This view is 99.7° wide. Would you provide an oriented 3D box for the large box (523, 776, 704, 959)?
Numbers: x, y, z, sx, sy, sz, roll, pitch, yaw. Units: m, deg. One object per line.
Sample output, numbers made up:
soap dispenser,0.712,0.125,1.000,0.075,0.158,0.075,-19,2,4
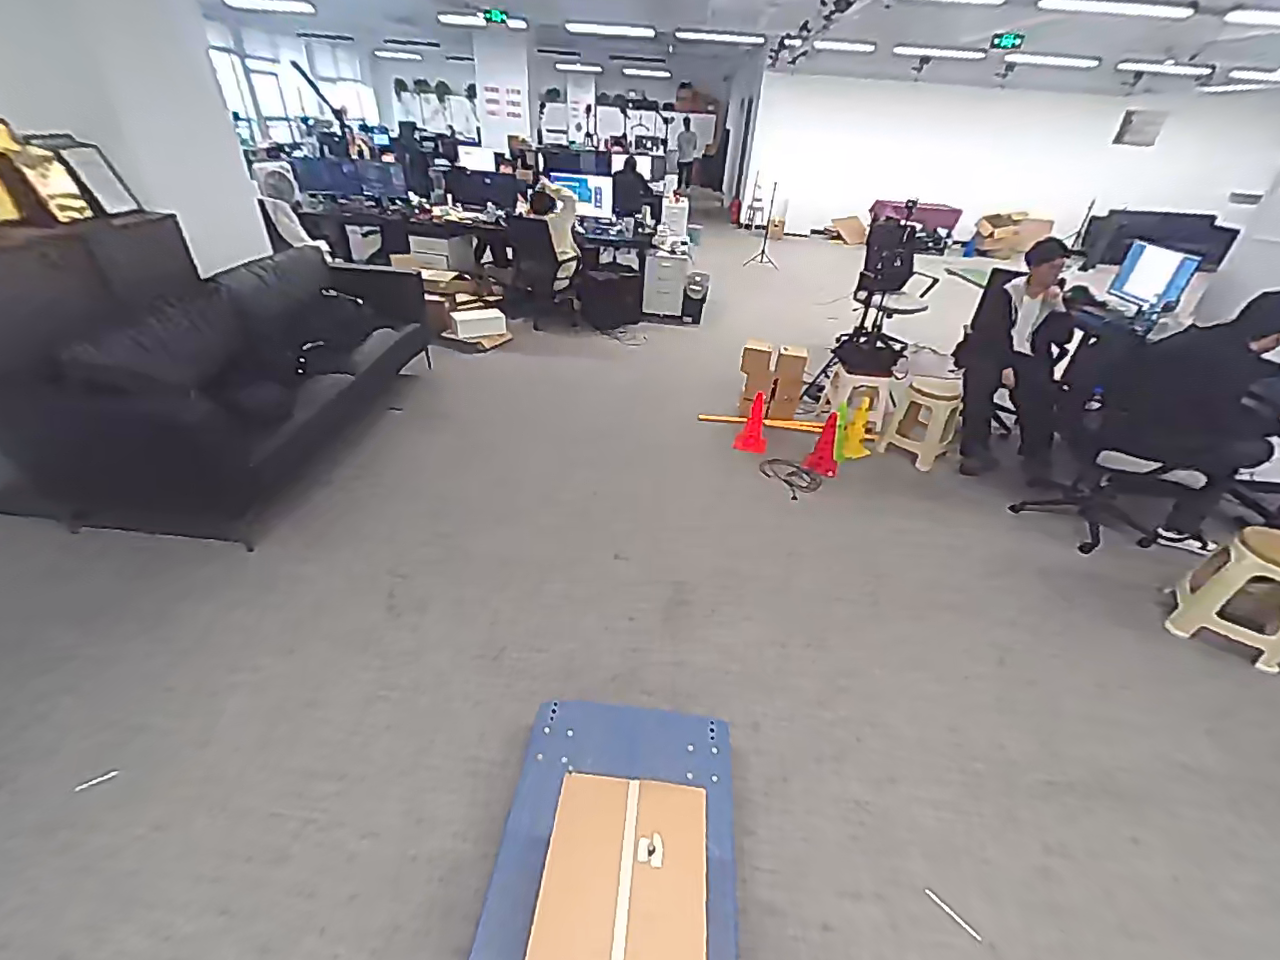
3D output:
large box,-0.045,0.896,1.099,0.320,0.320,0.408,6,33,2
